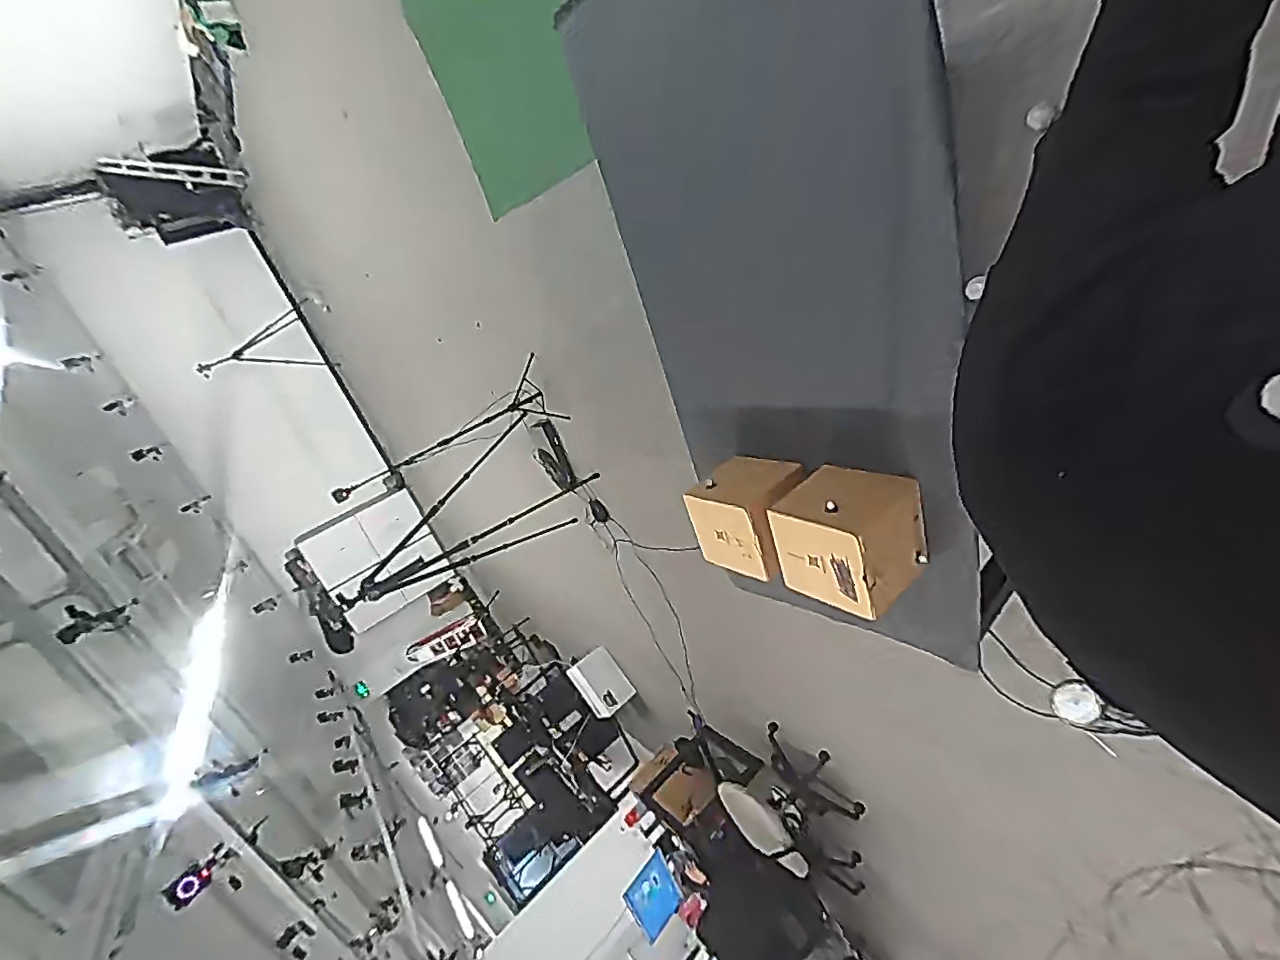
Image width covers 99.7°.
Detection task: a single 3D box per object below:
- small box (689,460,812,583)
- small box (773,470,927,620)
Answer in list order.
[{"bbox_3d":[0.232,0.073,1.083,0.179,0.176,0.168,12,129,52],"label":"small box"},{"bbox_3d":[0.359,0.097,0.909,0.179,0.176,0.168,15,131,53],"label":"small box"}]
